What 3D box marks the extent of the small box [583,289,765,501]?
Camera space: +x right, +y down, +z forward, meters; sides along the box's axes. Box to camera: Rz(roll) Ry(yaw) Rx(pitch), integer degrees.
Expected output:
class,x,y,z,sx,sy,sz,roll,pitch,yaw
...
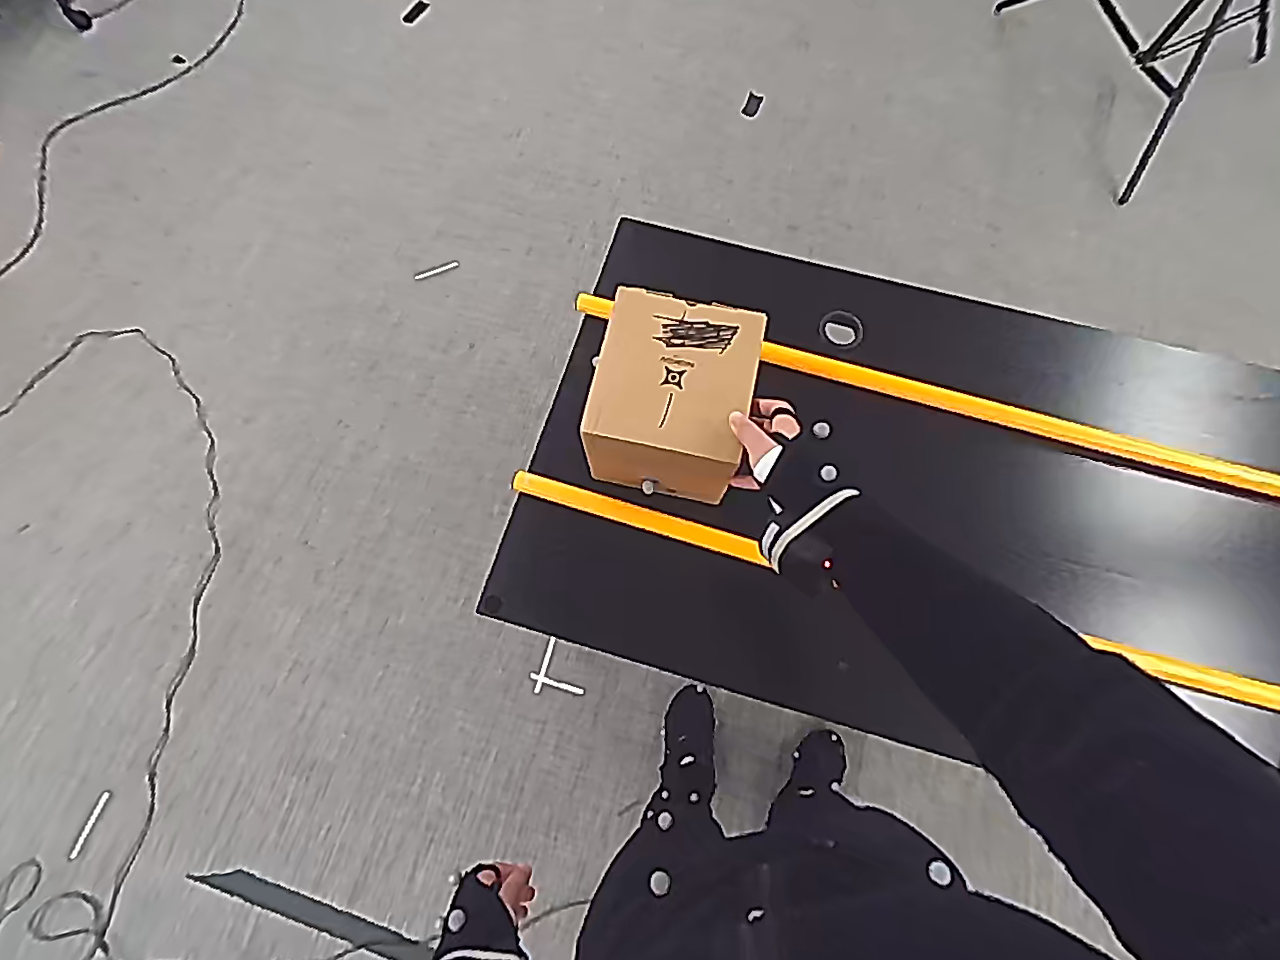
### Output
class,x,y,z,sx,sy,sz,roll,pitch,yaw
small box,0.038,-0.090,0.643,0.168,0.176,0.179,12,74,4
